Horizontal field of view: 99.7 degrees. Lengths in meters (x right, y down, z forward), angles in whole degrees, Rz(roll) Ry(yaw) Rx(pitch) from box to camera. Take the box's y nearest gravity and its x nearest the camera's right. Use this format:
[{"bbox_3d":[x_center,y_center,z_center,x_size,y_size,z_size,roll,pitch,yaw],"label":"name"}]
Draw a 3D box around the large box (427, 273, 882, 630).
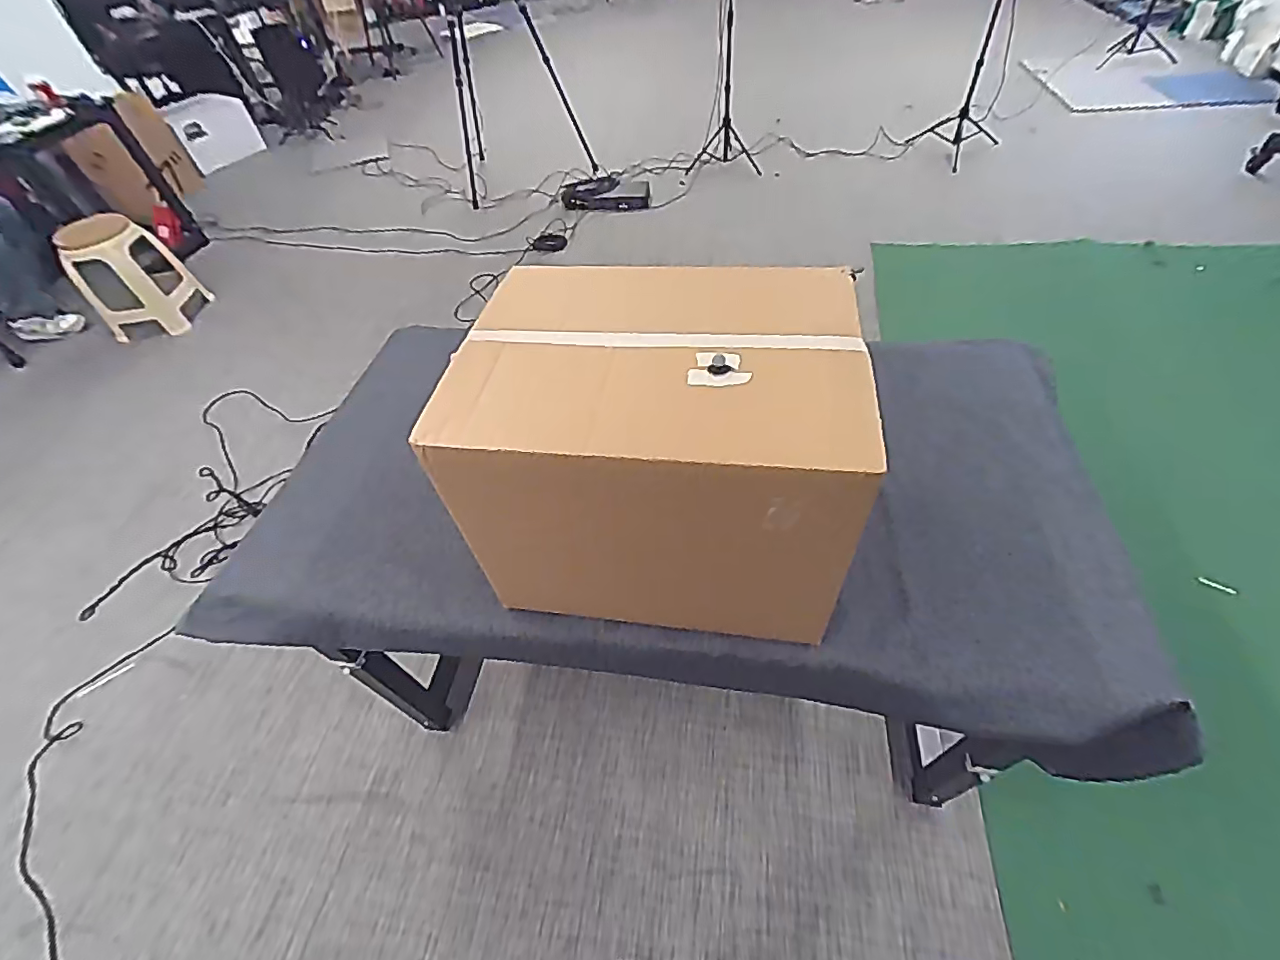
[{"bbox_3d":[0.030,-0.038,0.667,0.408,0.320,0.320,4,50,9],"label":"large box"}]
